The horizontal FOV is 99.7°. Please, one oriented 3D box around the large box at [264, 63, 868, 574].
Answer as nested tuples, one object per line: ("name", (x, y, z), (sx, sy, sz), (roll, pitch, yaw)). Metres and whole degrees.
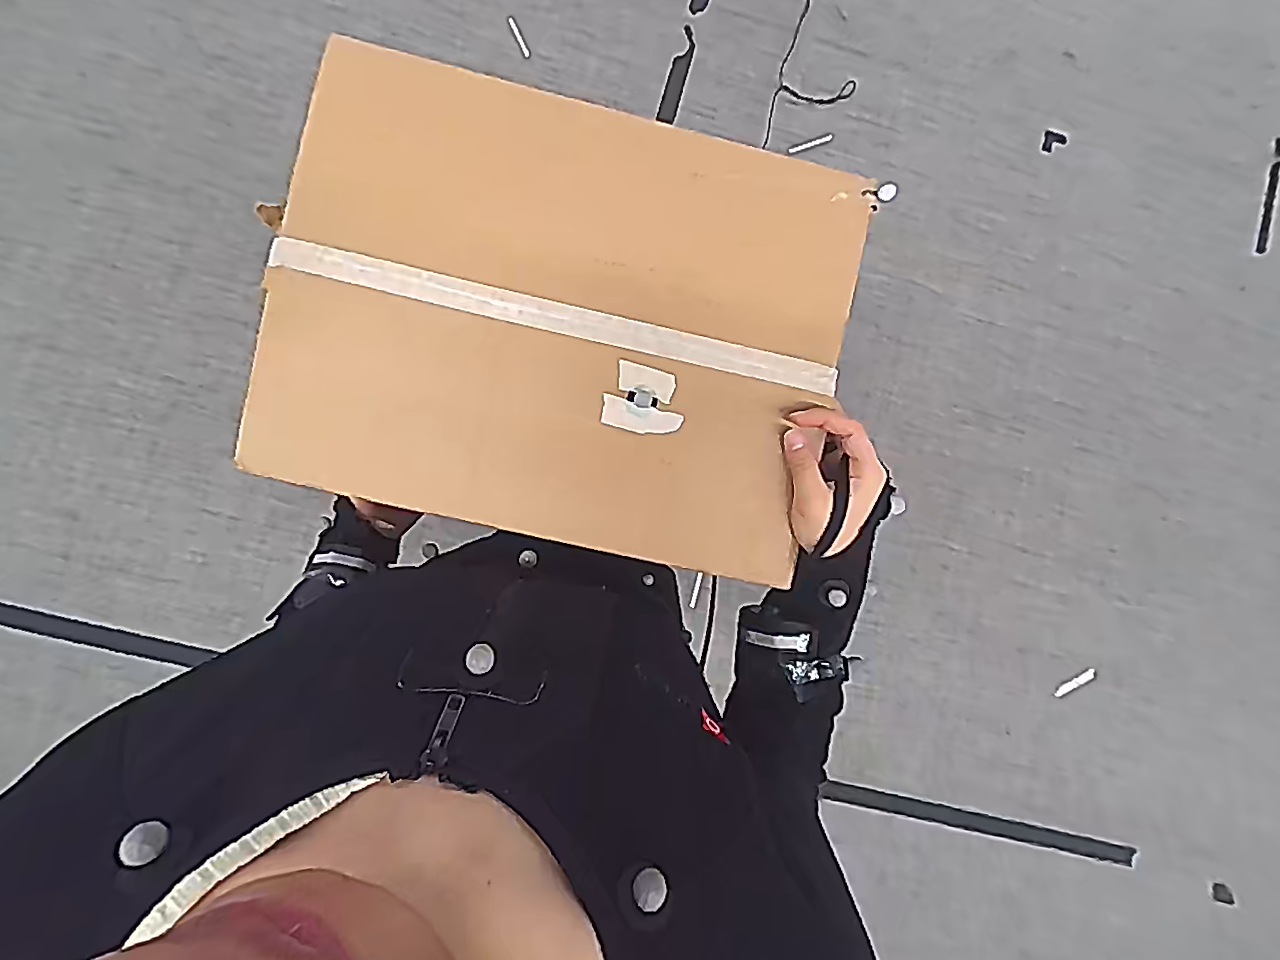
("large box", (-0.059, -0.114, 0.547), (0.408, 0.320, 0.320), (12, 91, -5))
